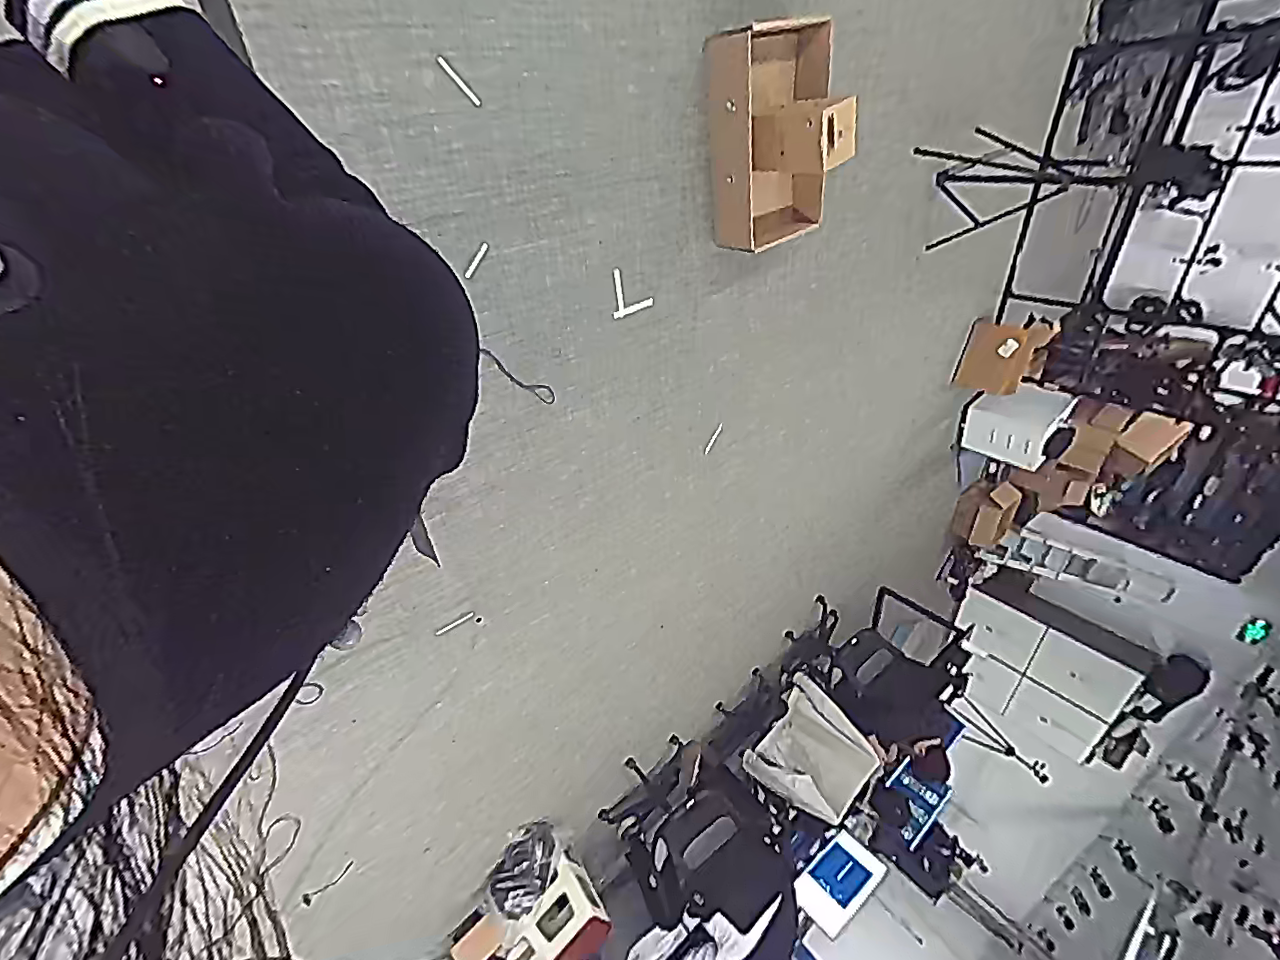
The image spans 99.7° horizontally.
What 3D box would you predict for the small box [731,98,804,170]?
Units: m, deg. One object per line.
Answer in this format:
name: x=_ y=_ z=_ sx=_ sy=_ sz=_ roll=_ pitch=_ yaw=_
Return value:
small box: x=0.427 y=-1.155 z=1.806 sx=0.179 sy=0.176 sz=0.168 roll=-36 pitch=133 yaw=-23
